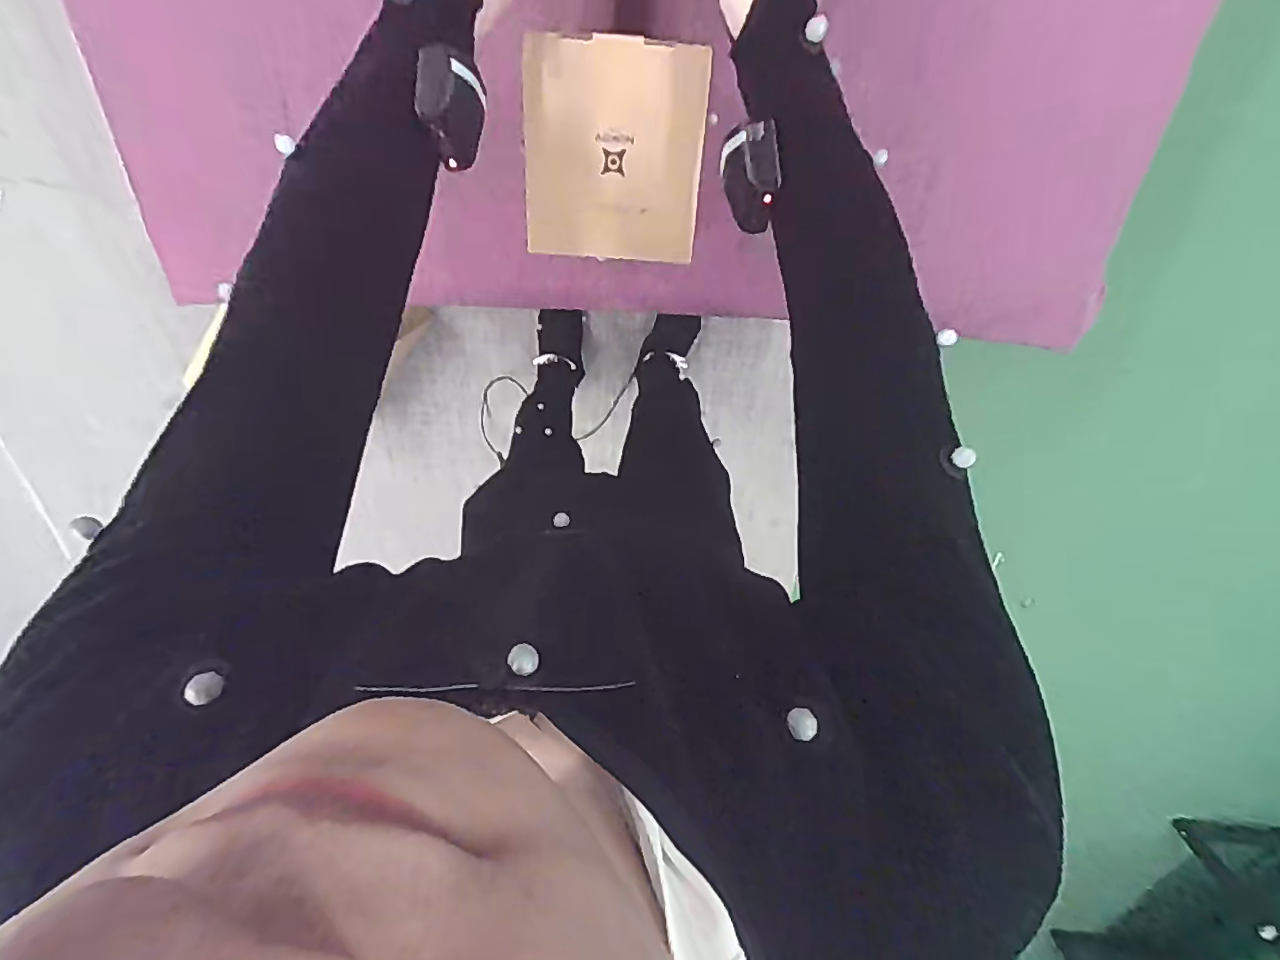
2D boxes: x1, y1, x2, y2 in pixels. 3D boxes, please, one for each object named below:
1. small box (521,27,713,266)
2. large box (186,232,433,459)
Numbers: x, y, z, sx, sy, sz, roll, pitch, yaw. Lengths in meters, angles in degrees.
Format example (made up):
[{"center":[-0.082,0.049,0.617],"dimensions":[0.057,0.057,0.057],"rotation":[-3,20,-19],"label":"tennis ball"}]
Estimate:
[{"center":[-0.024,-0.330,0.559],"dimensions":[0.168,0.176,0.179],"rotation":[5,119,0],"label":"small box"},{"center":[-0.791,-0.335,1.334],"dimensions":[0.320,0.320,0.408],"rotation":[38,112,-20],"label":"large box"}]
